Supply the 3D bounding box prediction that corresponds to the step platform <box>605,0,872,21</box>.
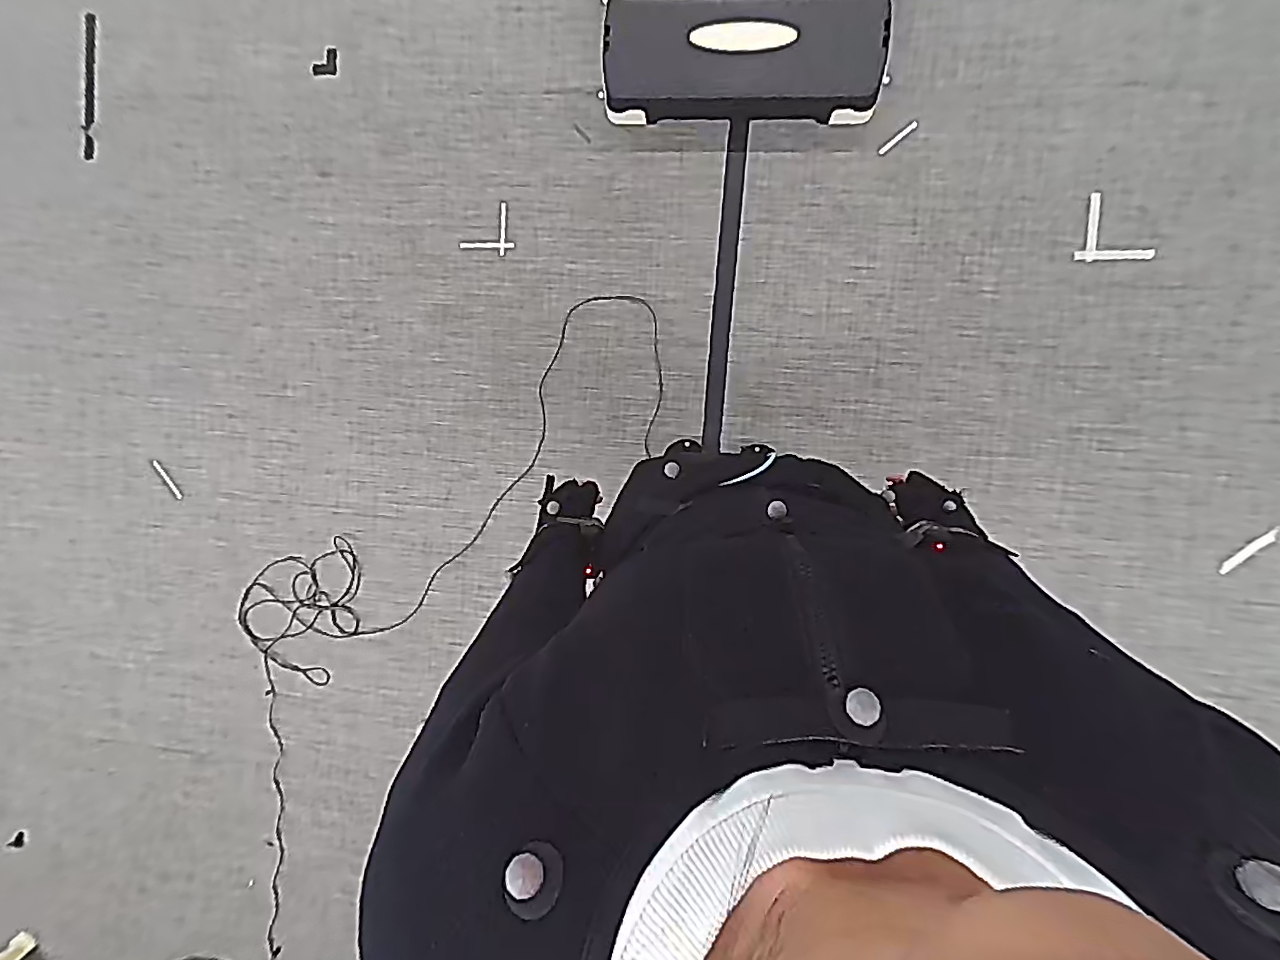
[{"bbox_3d":[0.235,-1.286,1.240,0.684,0.204,0.286,3,95,5],"label":"step platform"}]
